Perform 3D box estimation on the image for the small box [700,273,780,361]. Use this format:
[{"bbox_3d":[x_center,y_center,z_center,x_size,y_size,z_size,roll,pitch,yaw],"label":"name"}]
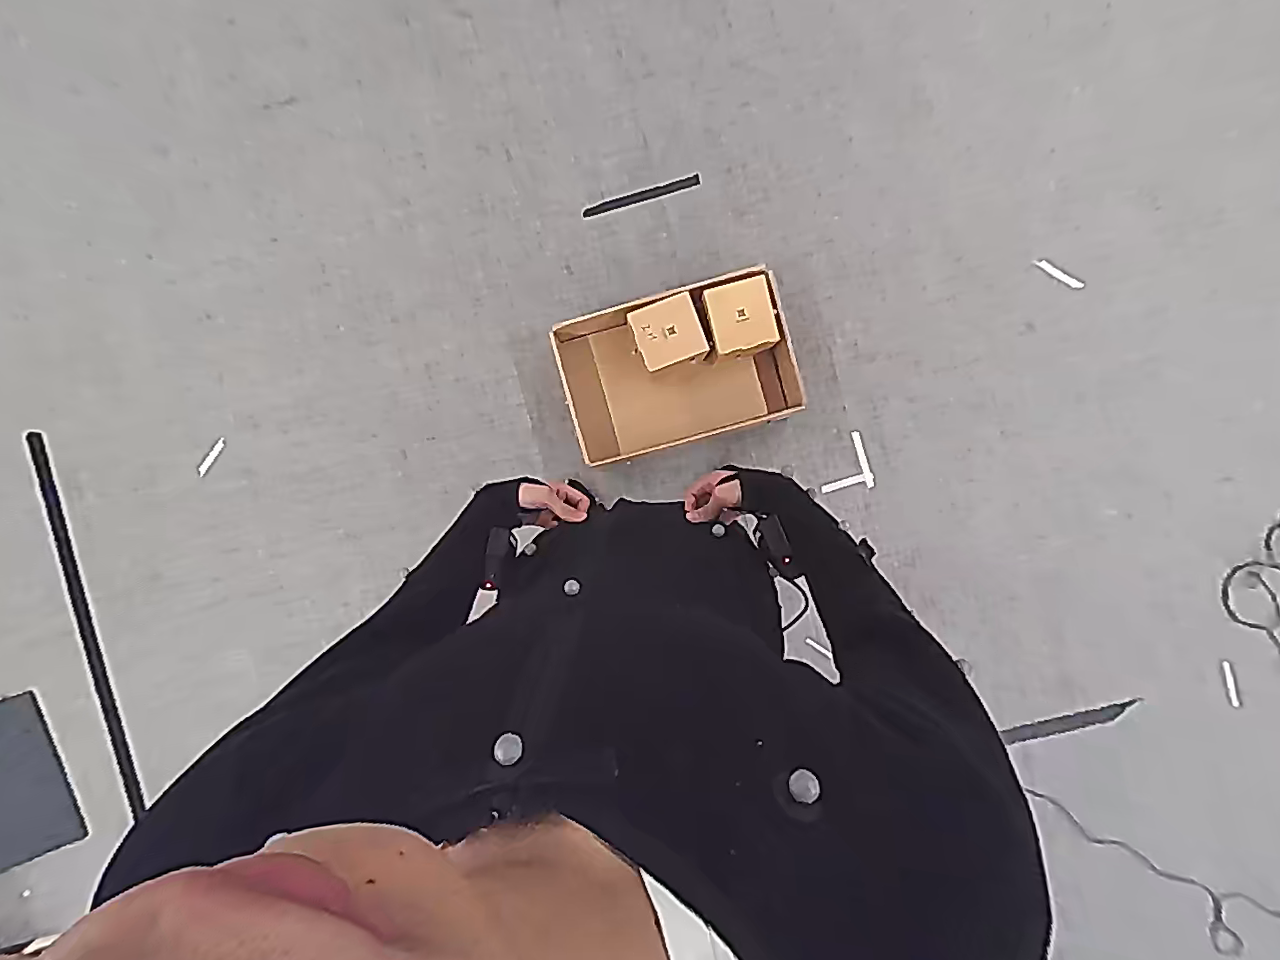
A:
[{"bbox_3d":[0.268,-0.440,1.486,0.168,0.176,0.179,-15,94,3],"label":"small box"}]
